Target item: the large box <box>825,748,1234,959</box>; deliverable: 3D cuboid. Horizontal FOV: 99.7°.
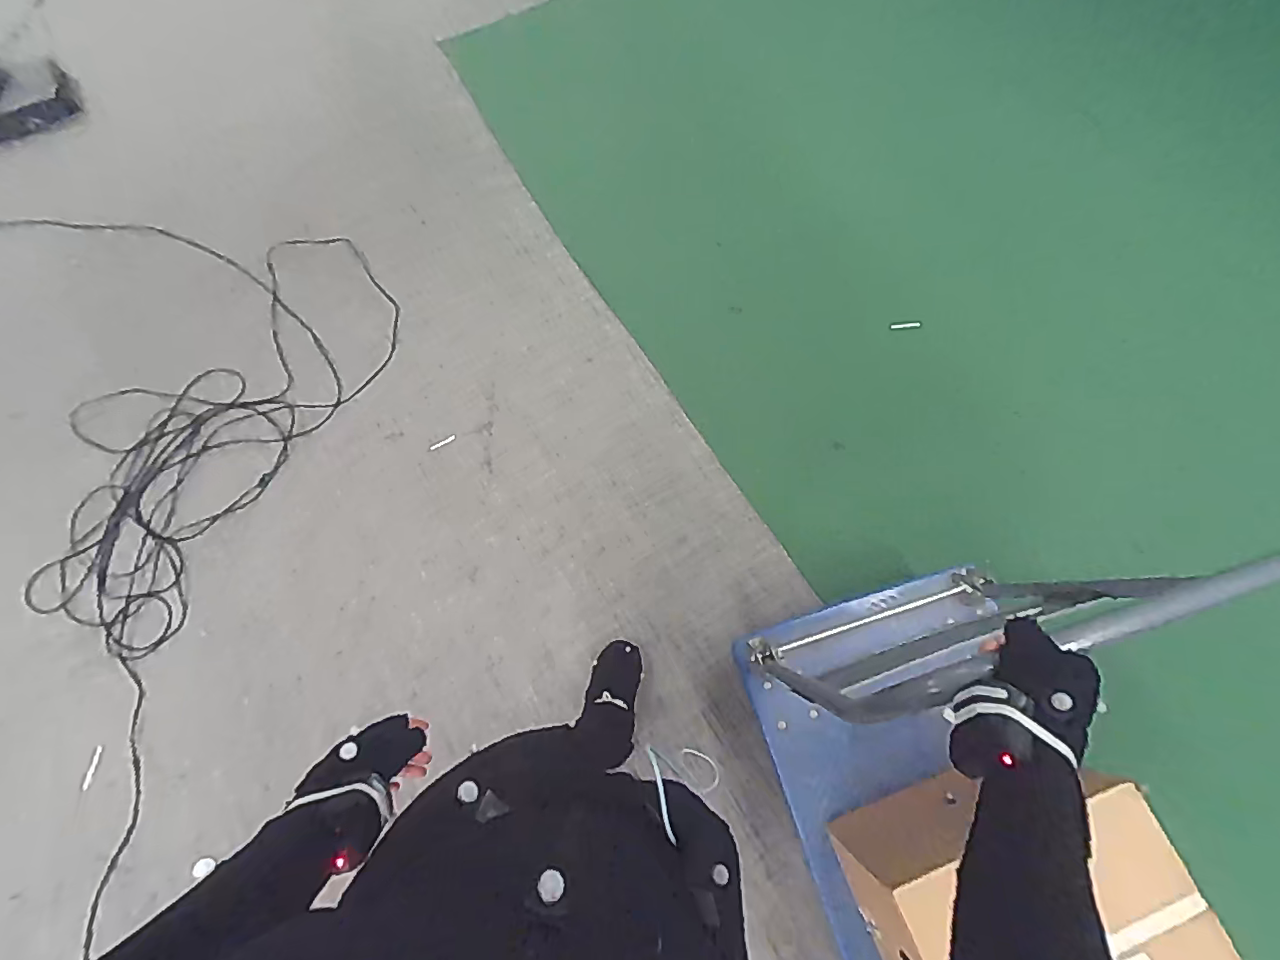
[{"bbox_3d":[0.589,0.691,0.878,0.408,0.320,0.320,-21,74,-6],"label":"large box"}]
